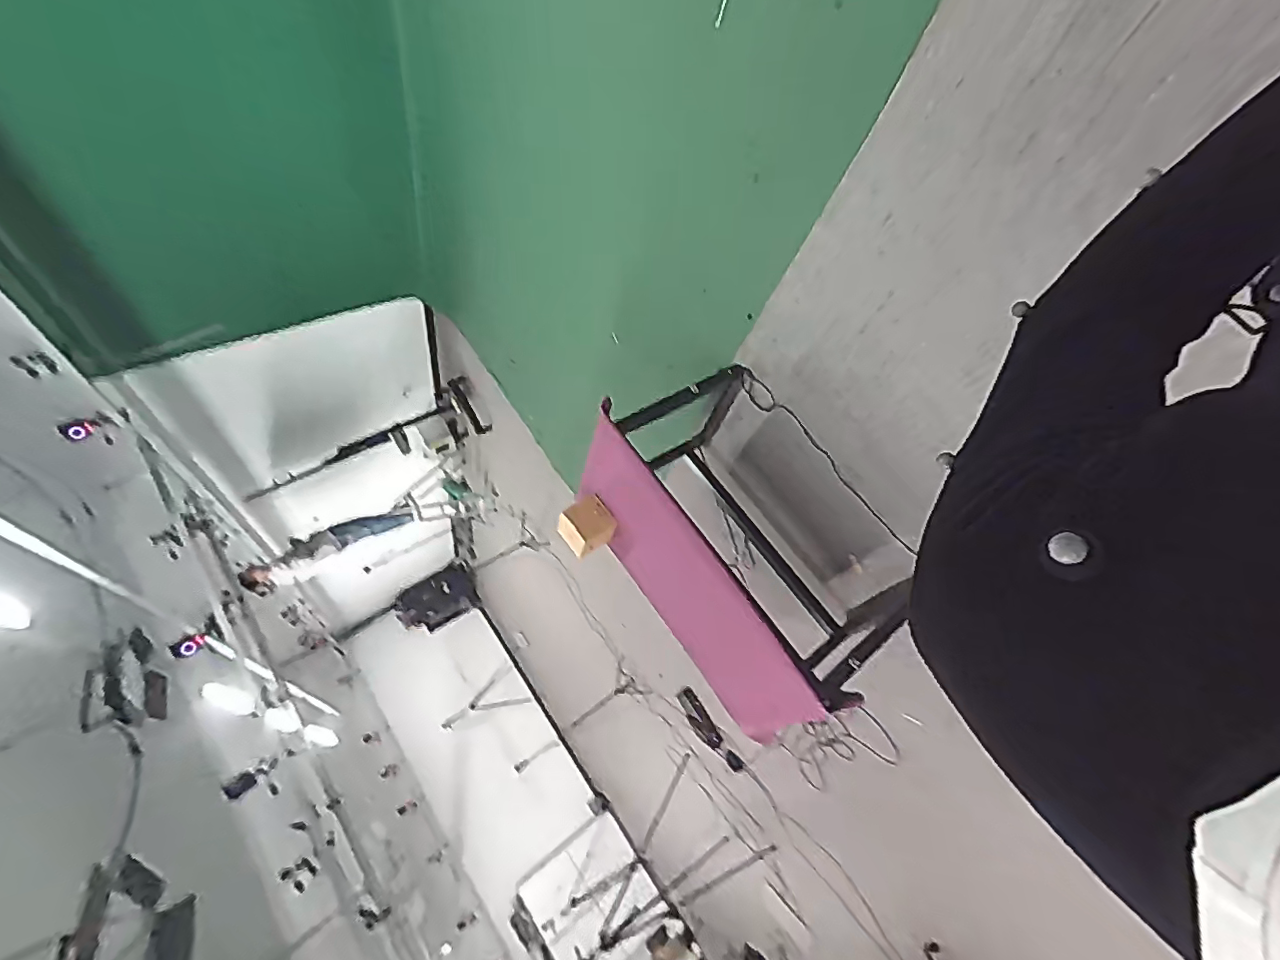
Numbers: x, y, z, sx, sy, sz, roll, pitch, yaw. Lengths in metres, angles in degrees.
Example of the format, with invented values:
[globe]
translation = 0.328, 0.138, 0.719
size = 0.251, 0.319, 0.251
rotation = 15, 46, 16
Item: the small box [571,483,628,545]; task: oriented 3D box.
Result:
[small box]
translation = -0.173, 0.143, 2.288
size = 0.168, 0.176, 0.179
rotation = 49, 150, 16
